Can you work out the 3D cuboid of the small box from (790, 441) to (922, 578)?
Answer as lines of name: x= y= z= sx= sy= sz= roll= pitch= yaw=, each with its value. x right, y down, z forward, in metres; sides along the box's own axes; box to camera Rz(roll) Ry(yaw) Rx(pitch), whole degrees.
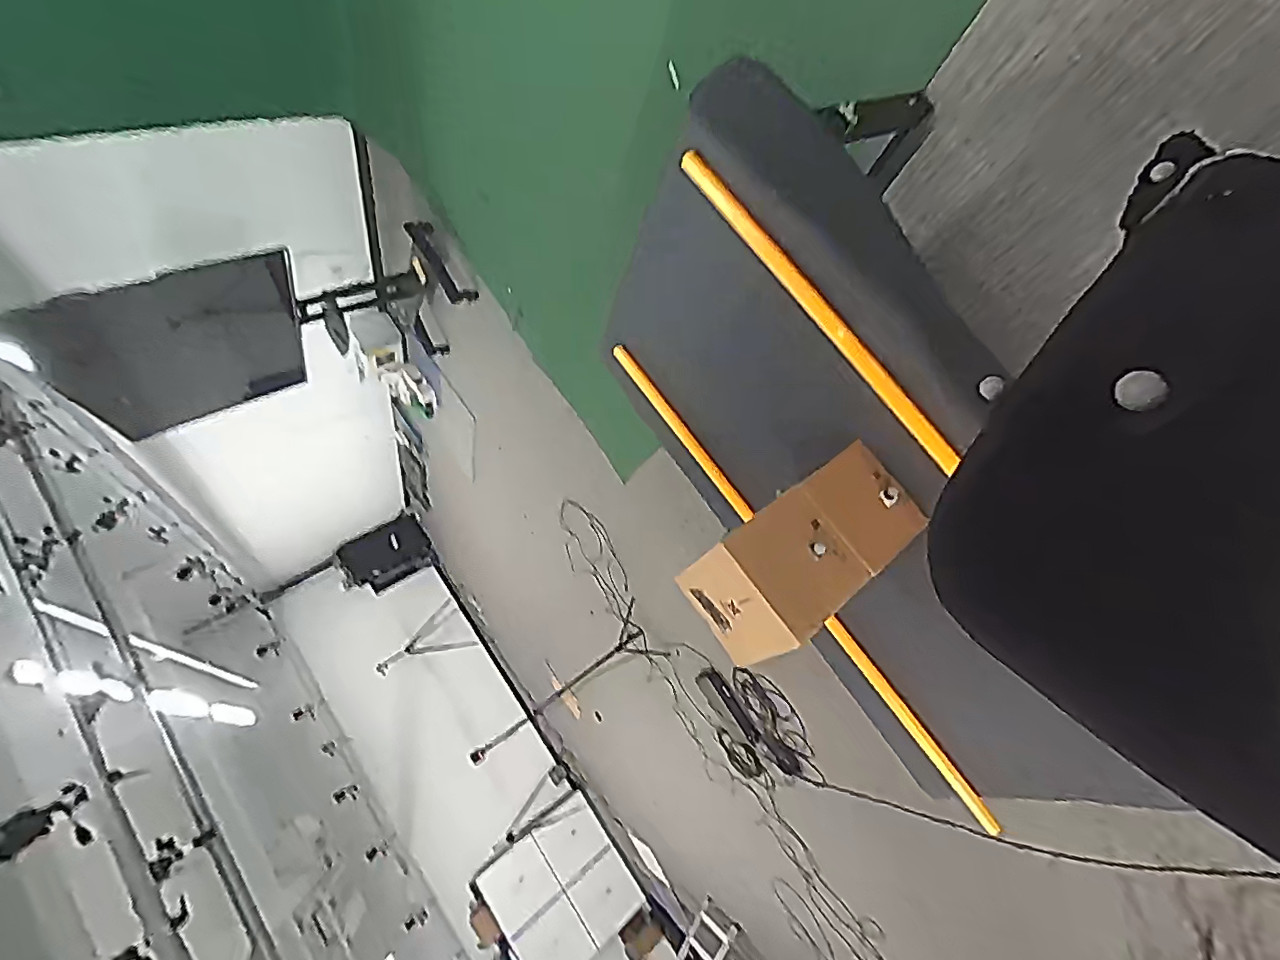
small box: x=0.314 y=0.068 z=0.883 sx=0.168 sy=0.176 sz=0.179 roll=52 pitch=148 yaw=12

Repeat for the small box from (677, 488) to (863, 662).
small box: x=0.190 y=0.141 z=0.803 sx=0.168 sy=0.176 sz=0.179 roll=52 pitch=149 yaw=11
